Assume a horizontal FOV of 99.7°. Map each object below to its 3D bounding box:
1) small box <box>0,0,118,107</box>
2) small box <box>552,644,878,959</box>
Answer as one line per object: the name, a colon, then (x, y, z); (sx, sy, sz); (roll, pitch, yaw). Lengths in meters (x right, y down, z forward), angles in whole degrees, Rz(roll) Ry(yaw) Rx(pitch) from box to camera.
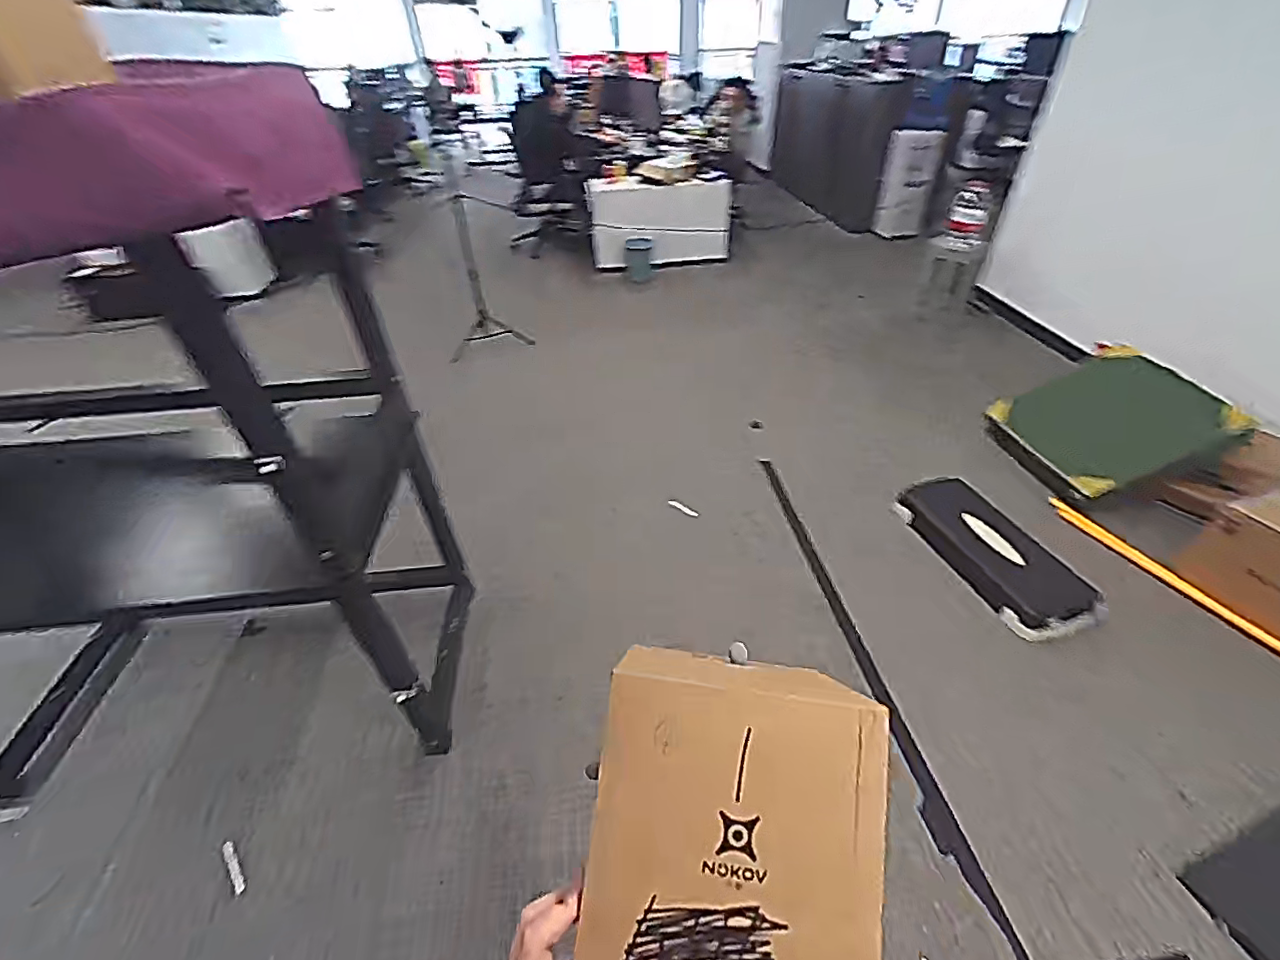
small box: (-0.778, -0.541, 0.628); (0.168, 0.176, 0.179); (-4, 39, 0)
small box: (0.047, 0.219, 0.372); (0.168, 0.176, 0.179); (6, 78, 4)
